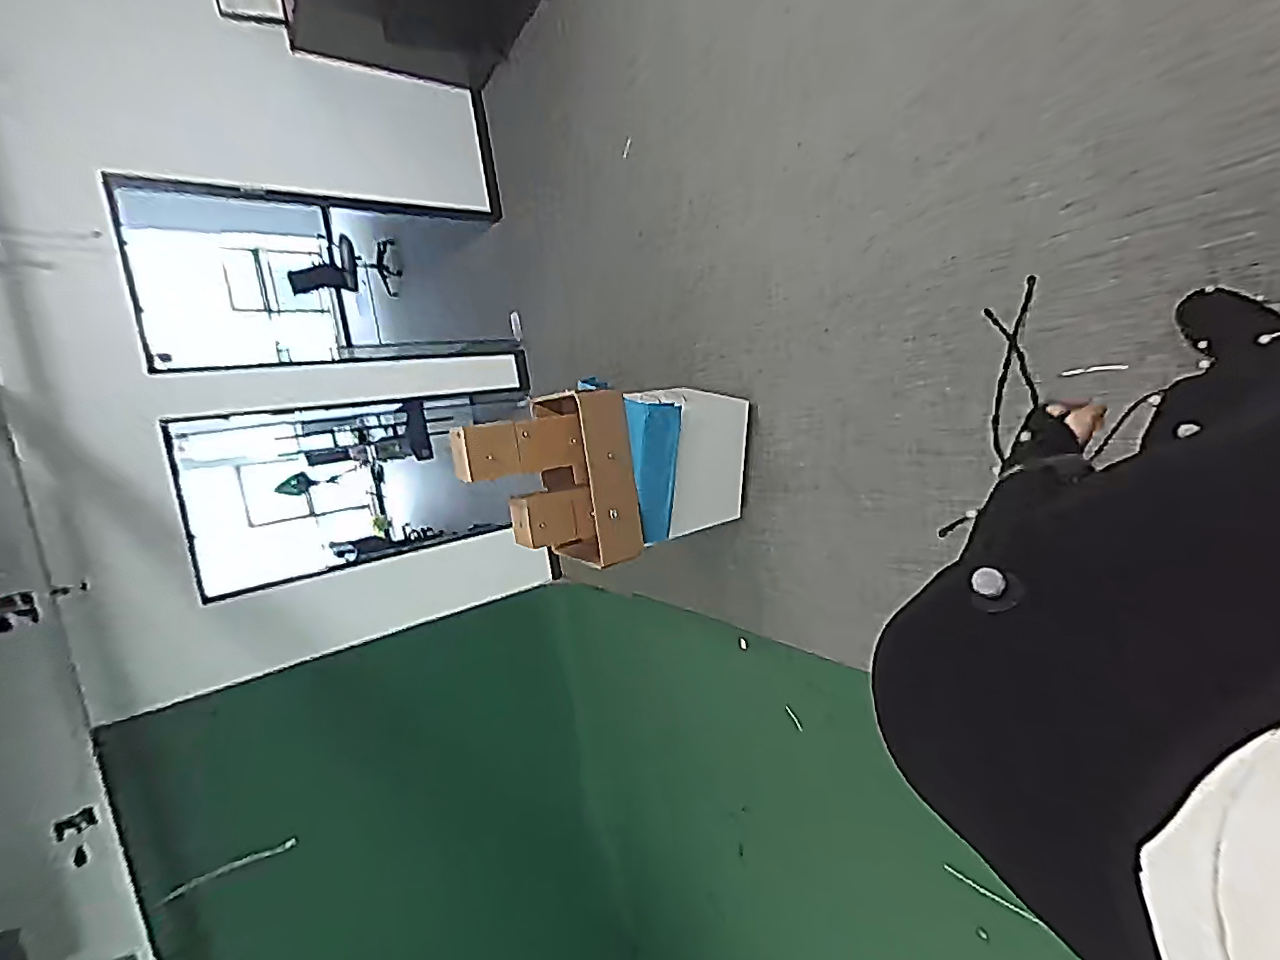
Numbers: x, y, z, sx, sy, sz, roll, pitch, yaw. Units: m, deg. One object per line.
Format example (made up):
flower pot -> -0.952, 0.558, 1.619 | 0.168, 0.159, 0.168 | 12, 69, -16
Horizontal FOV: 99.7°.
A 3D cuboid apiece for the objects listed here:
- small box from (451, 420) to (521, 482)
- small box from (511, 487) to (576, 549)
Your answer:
small box -> -0.504, -0.101, 1.786 | 0.168, 0.176, 0.179 | 6, 106, 55
small box -> -0.337, 0.129, 1.902 | 0.168, 0.176, 0.179 | 3, 102, 56
